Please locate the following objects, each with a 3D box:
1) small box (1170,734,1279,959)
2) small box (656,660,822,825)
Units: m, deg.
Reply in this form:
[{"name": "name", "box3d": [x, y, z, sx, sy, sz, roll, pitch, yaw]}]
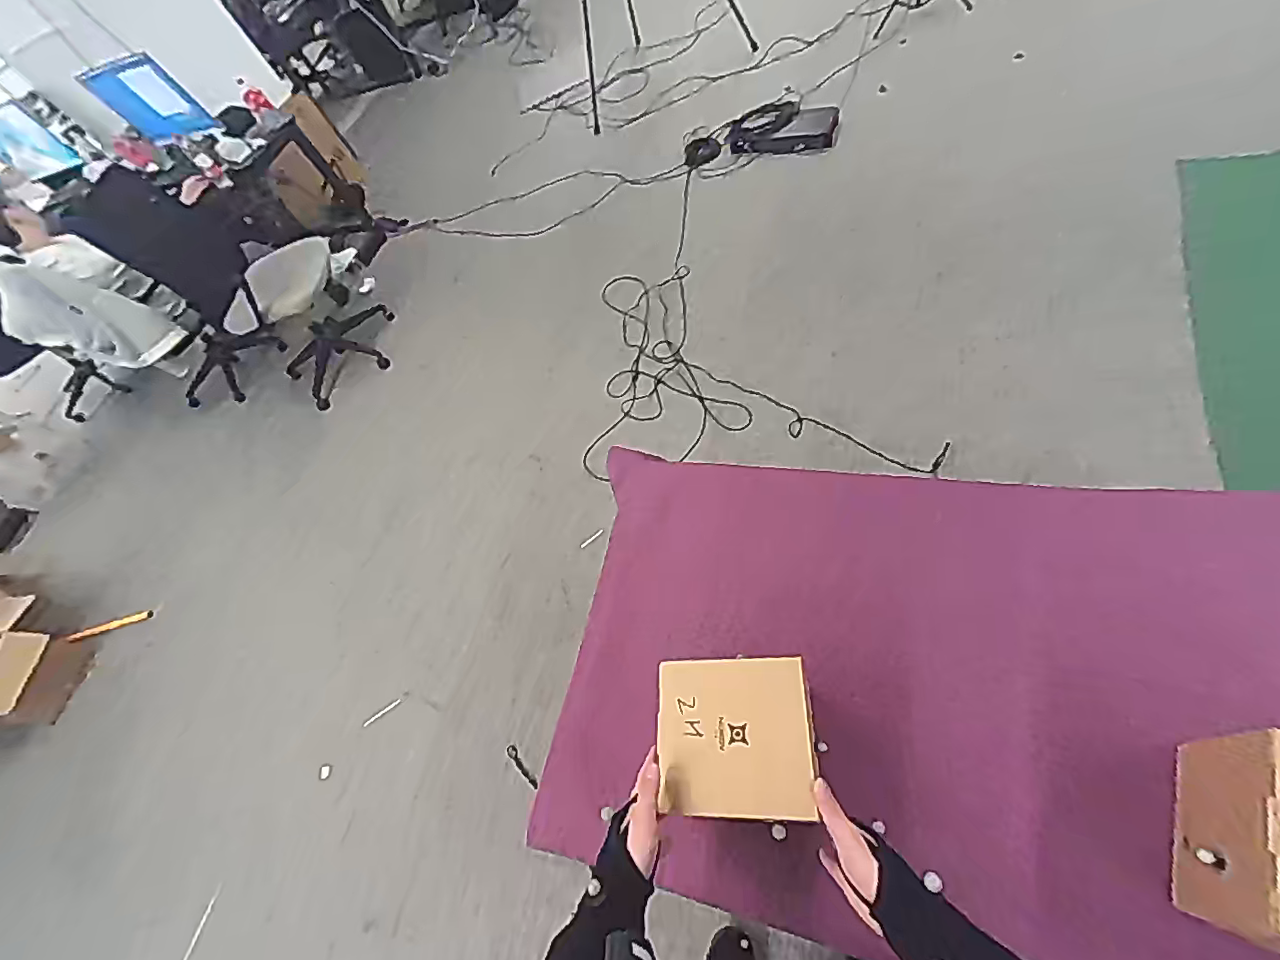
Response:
[{"name": "small box", "box3d": [0.626, 0.355, 0.483, 0.179, 0.176, 0.168, 16, 67, 27]}, {"name": "small box", "box3d": [0.127, 0.328, 0.675, 0.179, 0.176, 0.168, -8, 57, 16]}]
